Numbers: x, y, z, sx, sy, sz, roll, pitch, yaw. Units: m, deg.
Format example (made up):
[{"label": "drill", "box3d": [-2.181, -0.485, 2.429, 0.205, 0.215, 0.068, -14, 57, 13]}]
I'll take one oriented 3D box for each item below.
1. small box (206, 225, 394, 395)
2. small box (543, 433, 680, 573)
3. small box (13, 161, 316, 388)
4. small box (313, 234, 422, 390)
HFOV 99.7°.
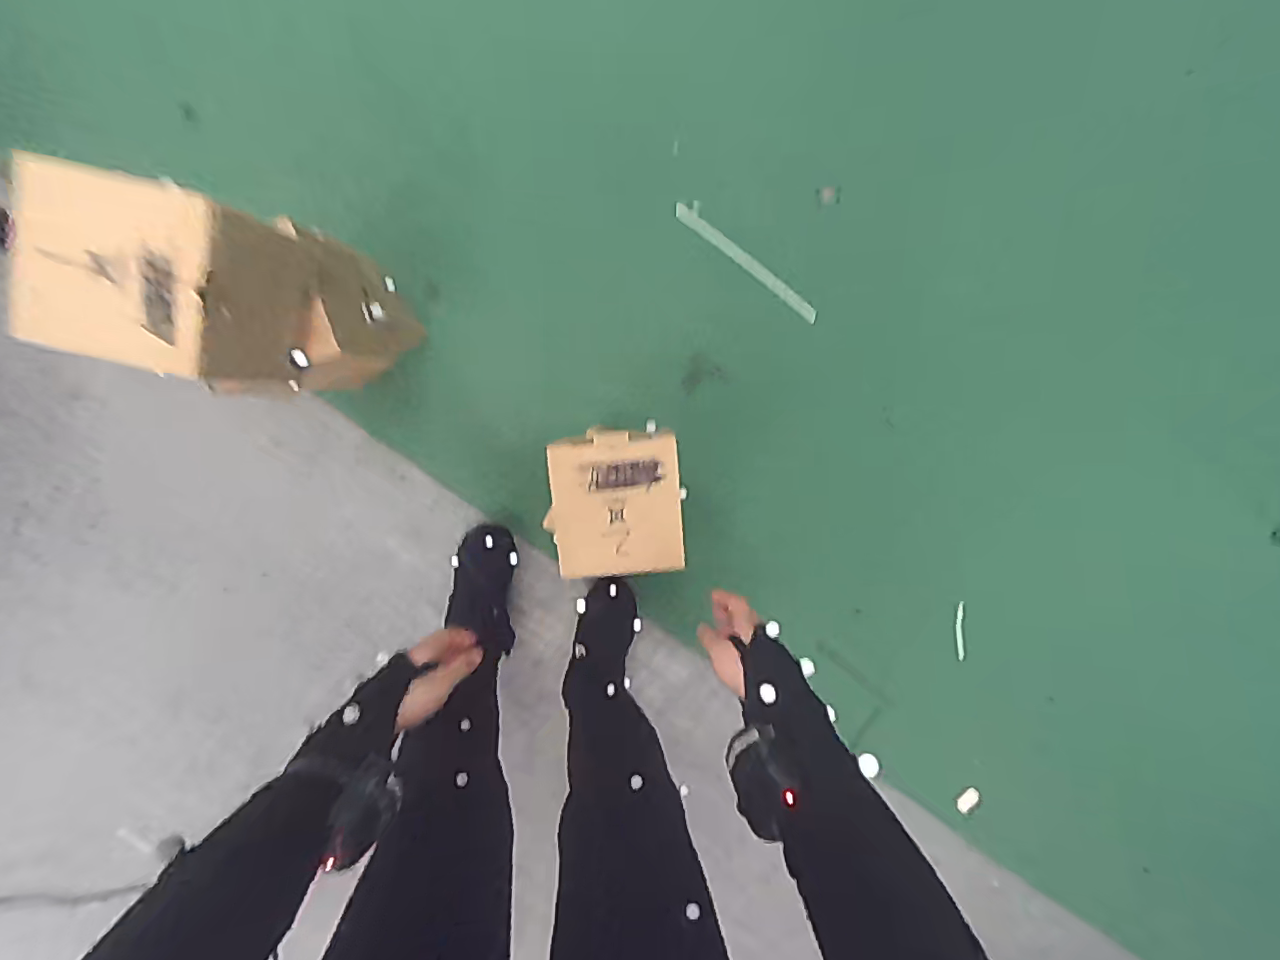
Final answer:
[{"label": "small box", "box3d": [-0.474, -0.215, 0.734, 0.179, 0.176, 0.168, -17, 99, 1]}, {"label": "small box", "box3d": [-0.049, 0.029, 0.937, 0.168, 0.176, 0.179, 27, 96, -5]}, {"label": "small box", "box3d": [-0.478, -0.197, 0.570, 0.179, 0.176, 0.168, 13, 99, -2]}, {"label": "small box", "box3d": [-0.498, -0.261, 0.891, 0.179, 0.176, 0.168, -37, 98, 4]}]
